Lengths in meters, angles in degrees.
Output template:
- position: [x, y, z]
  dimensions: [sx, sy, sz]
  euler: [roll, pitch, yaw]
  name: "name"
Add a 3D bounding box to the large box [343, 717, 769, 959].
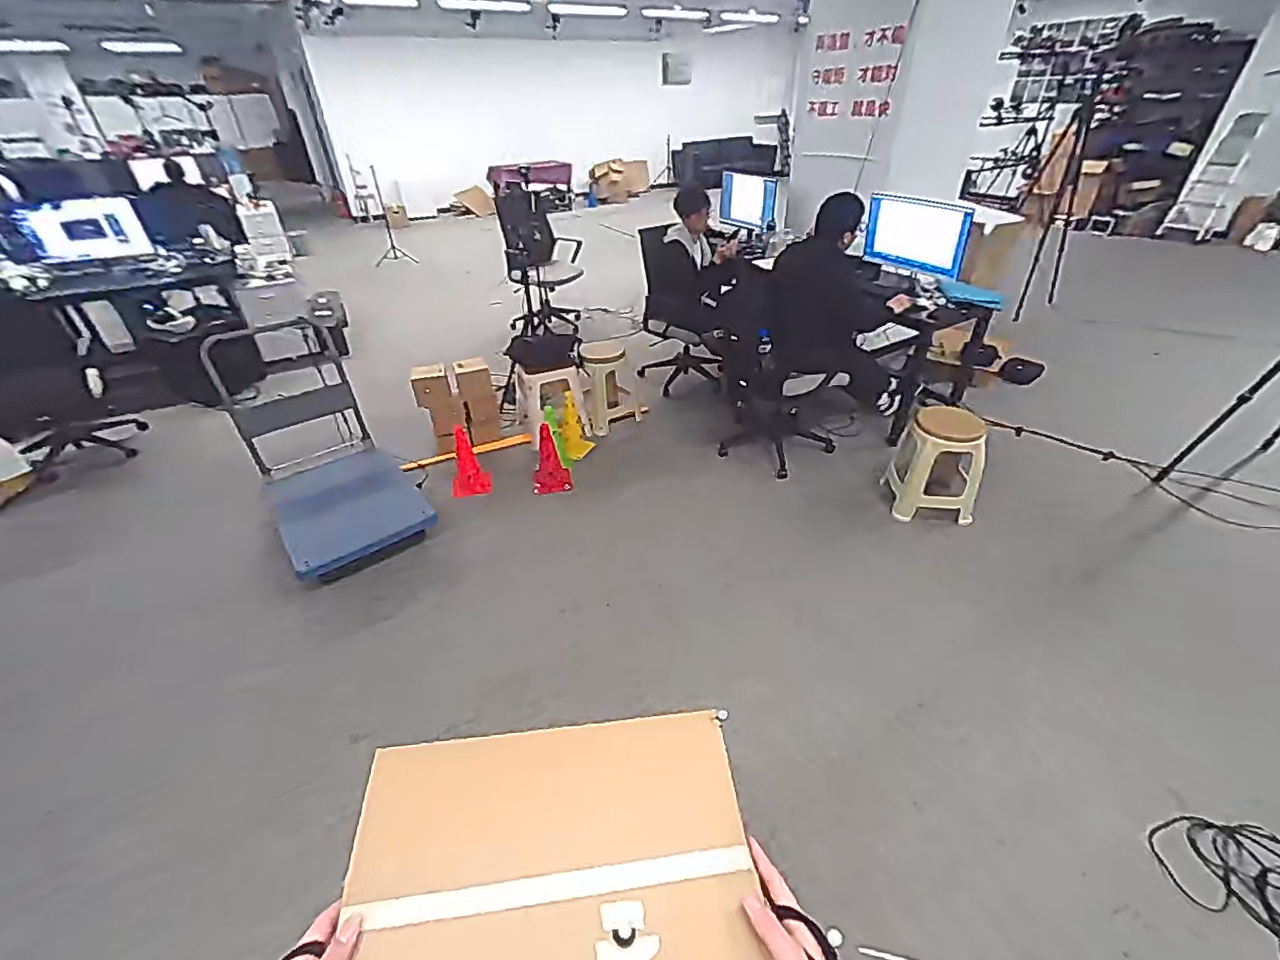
- position: [-0.090, 0.526, 0.645]
  dimensions: [0.408, 0.320, 0.320]
  euler: [-4, 43, -7]
  name: "large box"
